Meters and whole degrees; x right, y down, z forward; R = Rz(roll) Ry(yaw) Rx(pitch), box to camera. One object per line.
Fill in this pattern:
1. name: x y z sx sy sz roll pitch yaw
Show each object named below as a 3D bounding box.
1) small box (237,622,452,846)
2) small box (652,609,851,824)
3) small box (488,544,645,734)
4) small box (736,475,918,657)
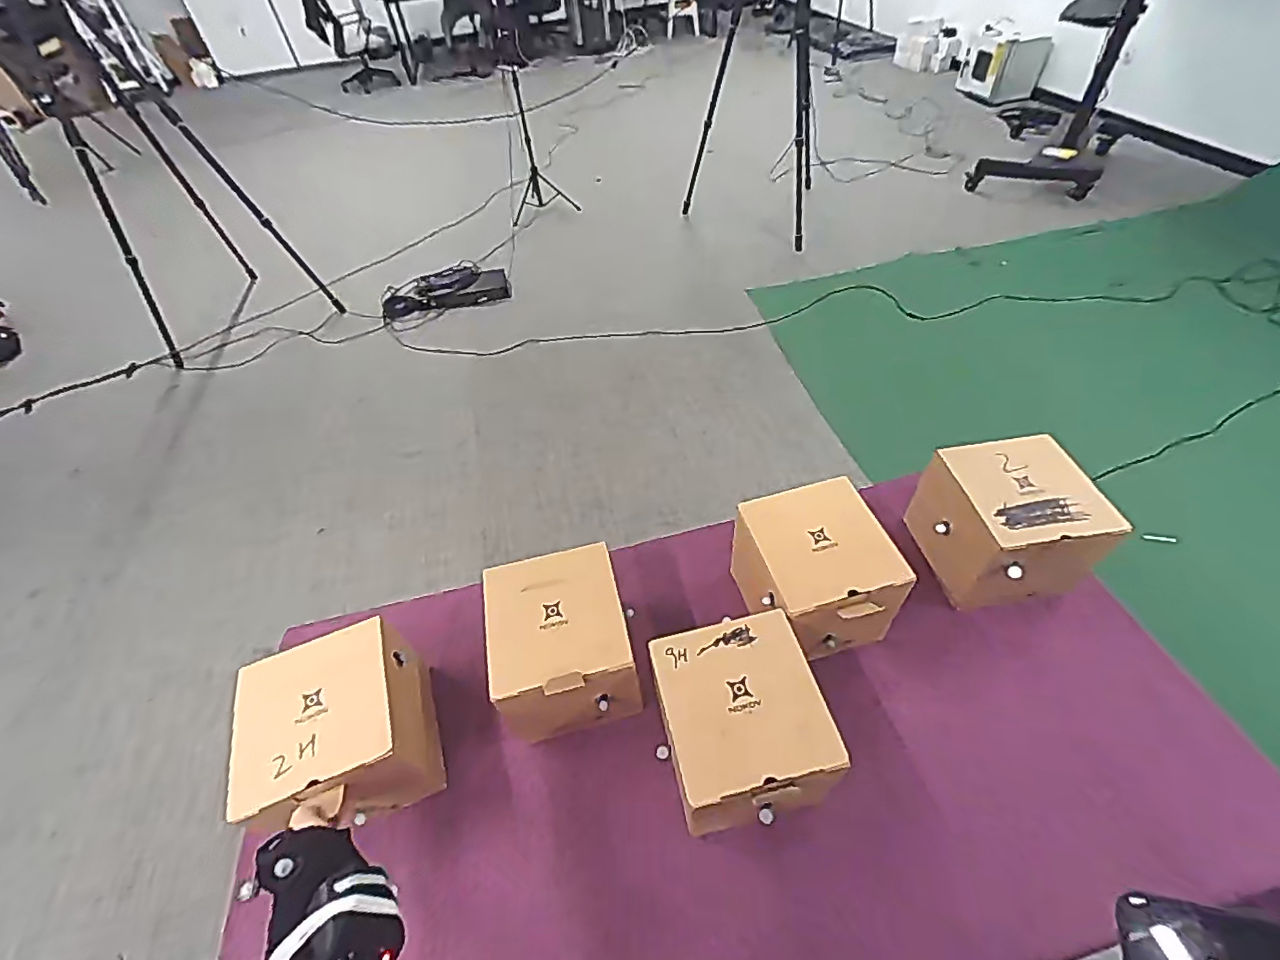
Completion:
1. small box: -0.349 0.313 0.663 0.168 0.176 0.179 -21 51 -11
2. small box: 0.118 0.282 0.633 0.168 0.176 0.179 -13 50 -5
3. small box: -0.093 0.217 0.717 0.168 0.176 0.179 -13 49 -6
4. small box: 0.241 0.125 0.755 0.168 0.176 0.179 -15 51 -6
